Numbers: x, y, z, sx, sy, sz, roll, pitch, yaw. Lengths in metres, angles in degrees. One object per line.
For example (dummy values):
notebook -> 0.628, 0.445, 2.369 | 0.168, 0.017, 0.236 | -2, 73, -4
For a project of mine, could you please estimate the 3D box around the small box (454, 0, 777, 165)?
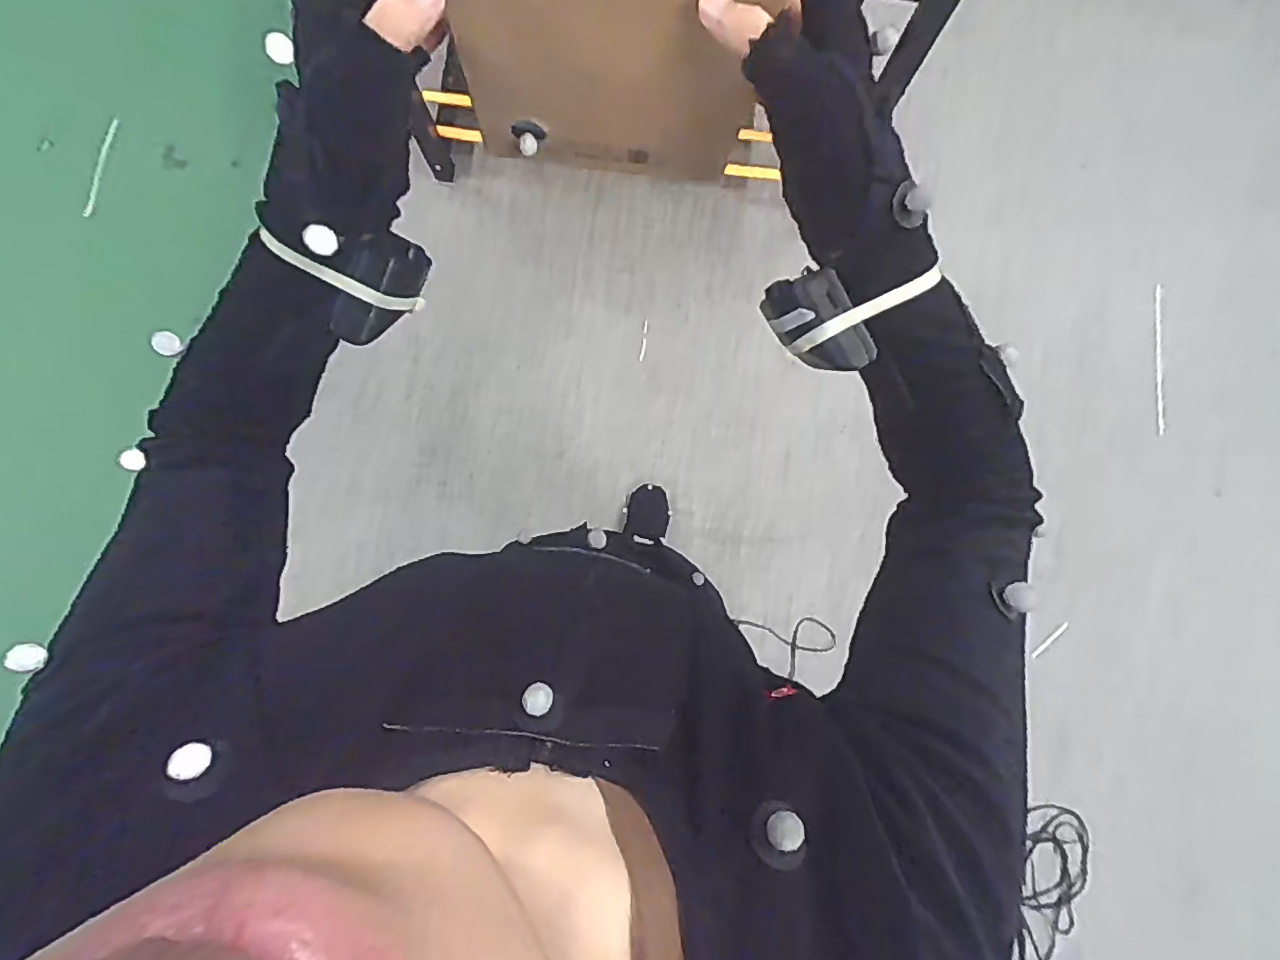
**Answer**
small box -> -0.009, -0.313, 0.302 | 0.168, 0.176, 0.179 | 4, 86, -5
